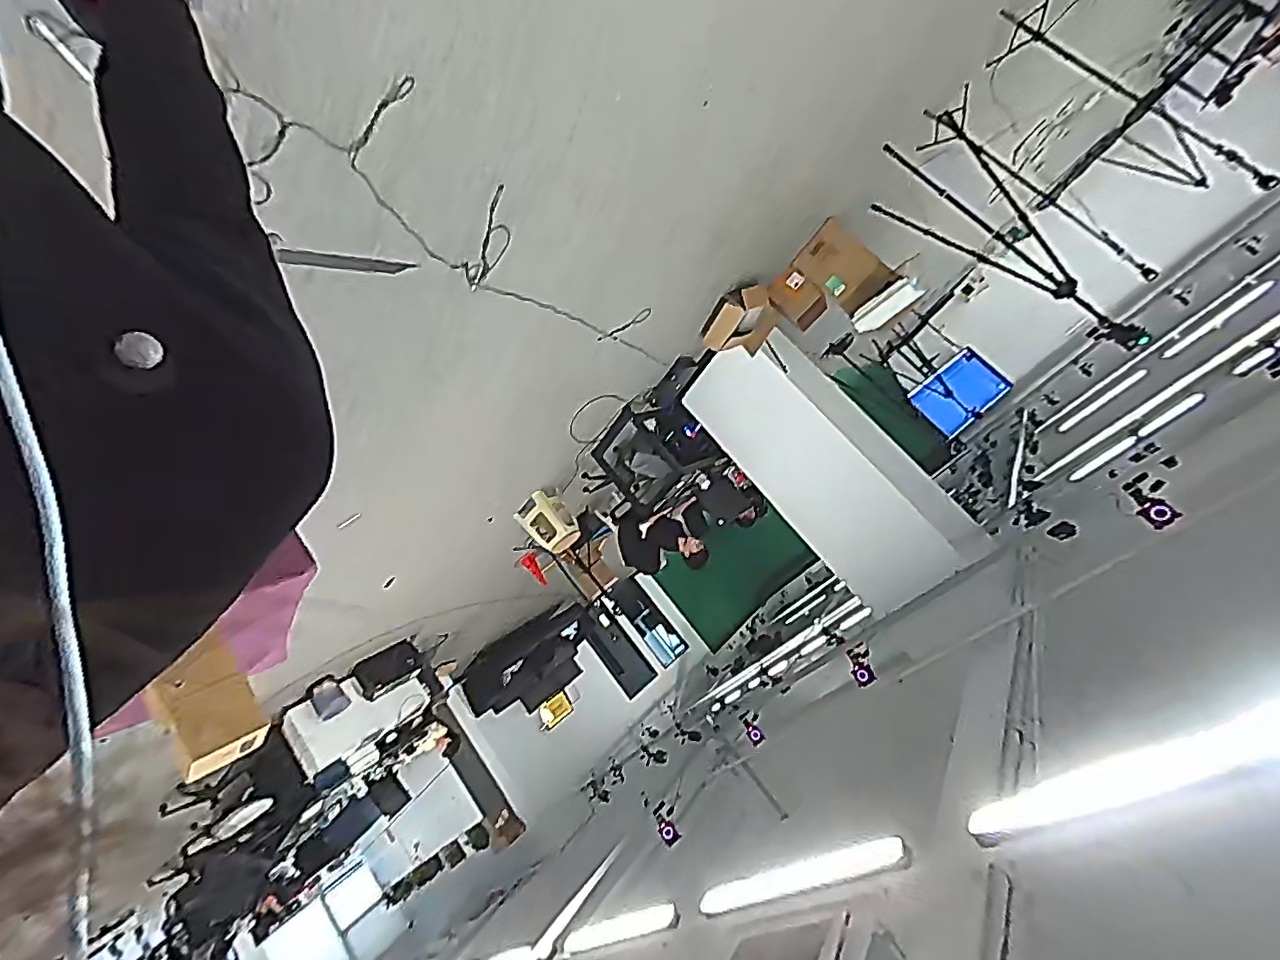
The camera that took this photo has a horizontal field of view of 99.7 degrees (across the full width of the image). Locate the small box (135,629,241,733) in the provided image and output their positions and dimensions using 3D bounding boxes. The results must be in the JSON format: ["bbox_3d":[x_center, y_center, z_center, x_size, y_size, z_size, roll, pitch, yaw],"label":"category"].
[{"bbox_3d":[-1.232,0.540,1.470,0.168,0.176,0.179,-49,163,32],"label":"small box"}]
